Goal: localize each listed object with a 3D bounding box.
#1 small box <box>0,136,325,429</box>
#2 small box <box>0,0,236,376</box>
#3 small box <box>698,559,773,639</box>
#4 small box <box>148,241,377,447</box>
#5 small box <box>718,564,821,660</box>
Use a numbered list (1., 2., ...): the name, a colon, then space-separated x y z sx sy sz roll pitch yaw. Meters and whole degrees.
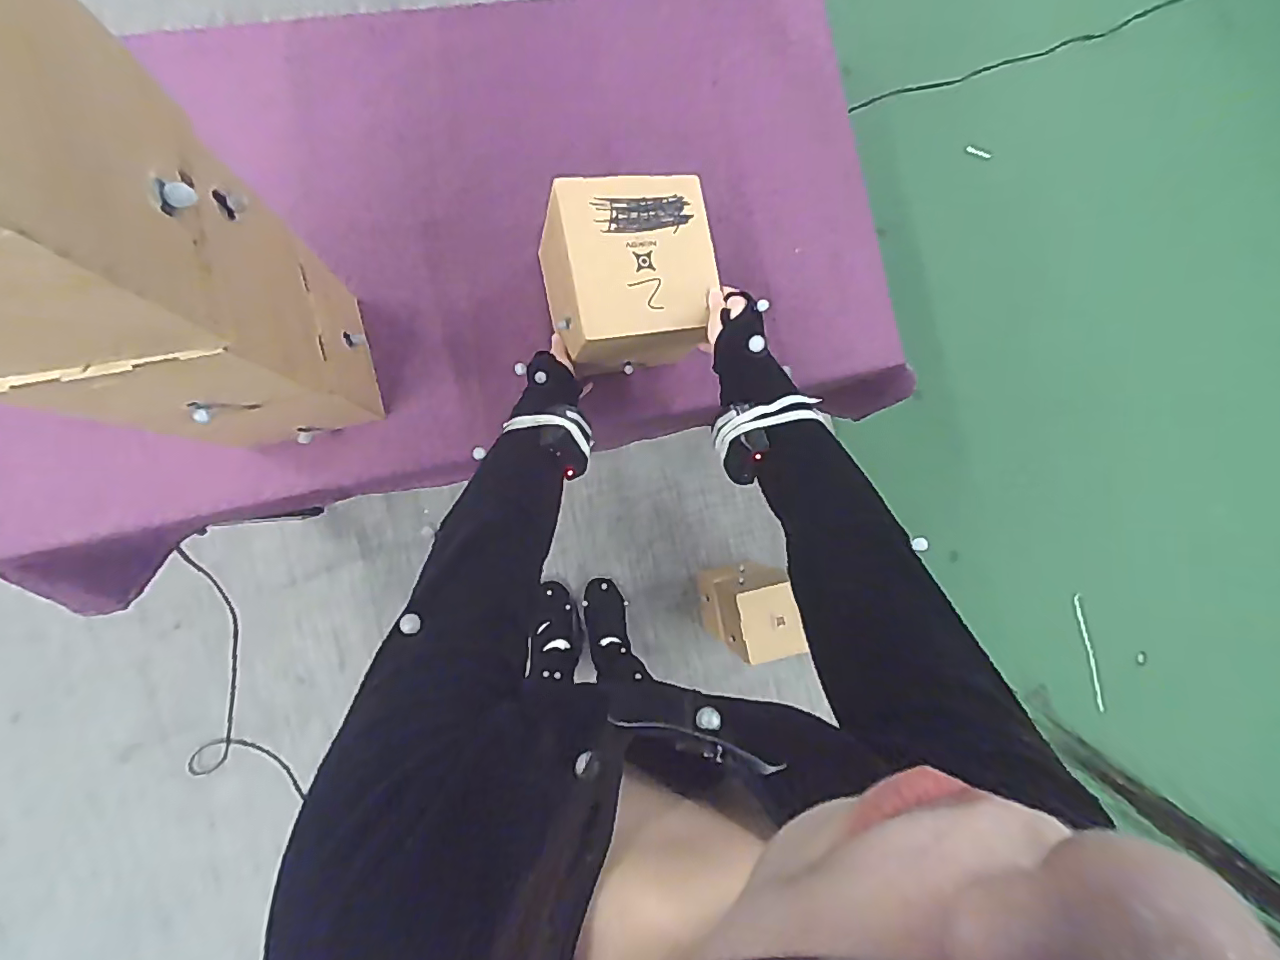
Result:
1. small box: -0.395 -0.151 0.447 0.168 0.176 0.179 -13 90 -8
2. small box: -0.366 -0.159 0.285 0.179 0.176 0.168 -12 90 -10
3. small box: 0.262 0.309 1.436 0.179 0.176 0.168 -9 90 -10
4. small box: -0.418 -0.140 0.610 0.179 0.176 0.168 -15 90 -9
5. small box: 0.295 0.304 1.277 0.179 0.176 0.168 -12 91 -10
